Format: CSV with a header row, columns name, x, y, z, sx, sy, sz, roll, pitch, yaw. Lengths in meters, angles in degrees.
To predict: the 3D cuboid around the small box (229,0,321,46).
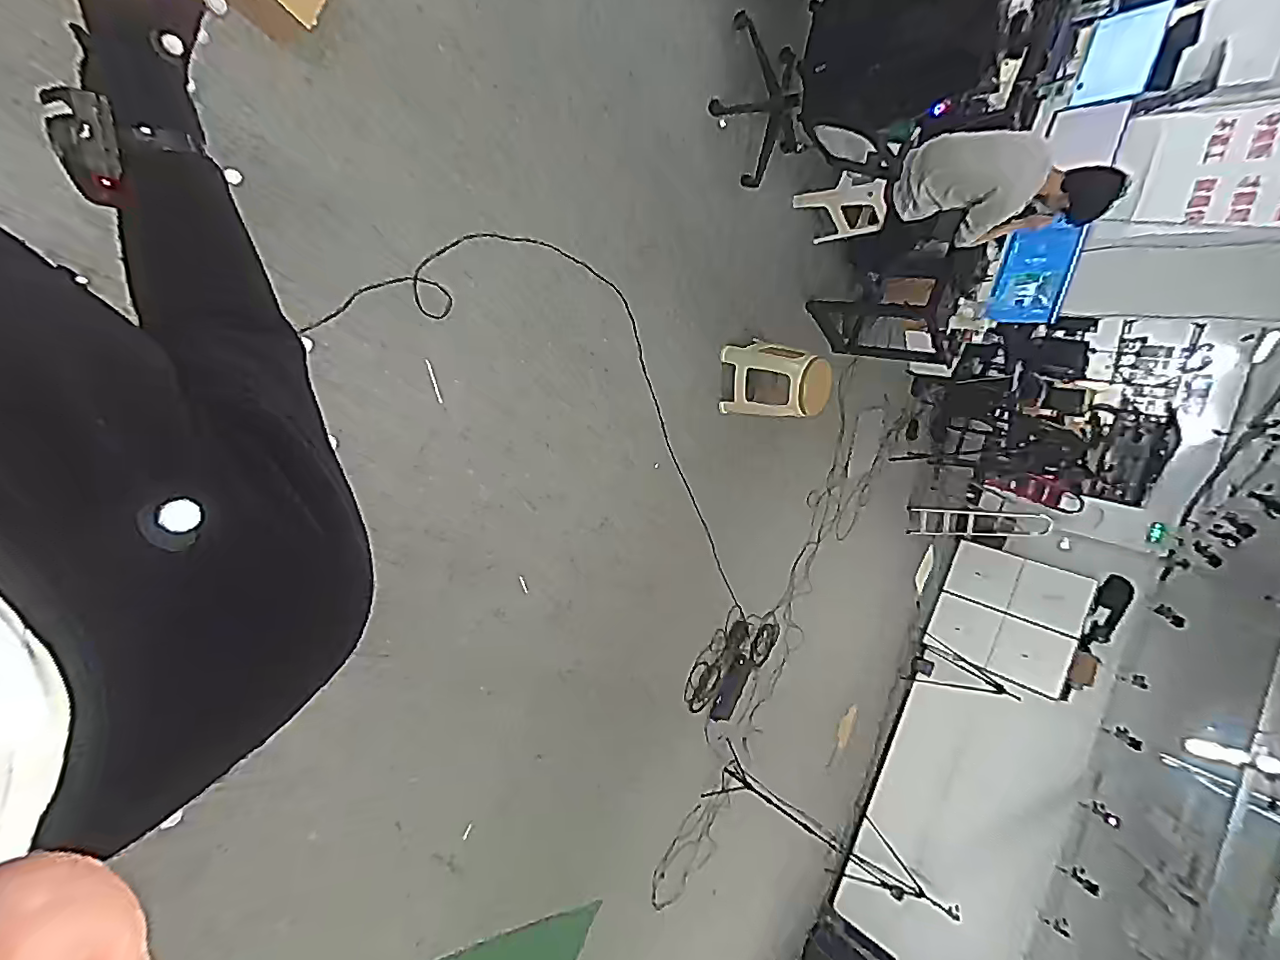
name,x,y,z,sx,sy,sz,roll,pitch,yaw
small box,-0.759,-1.042,1.100,0.179,0.176,0.168,36,79,-49
